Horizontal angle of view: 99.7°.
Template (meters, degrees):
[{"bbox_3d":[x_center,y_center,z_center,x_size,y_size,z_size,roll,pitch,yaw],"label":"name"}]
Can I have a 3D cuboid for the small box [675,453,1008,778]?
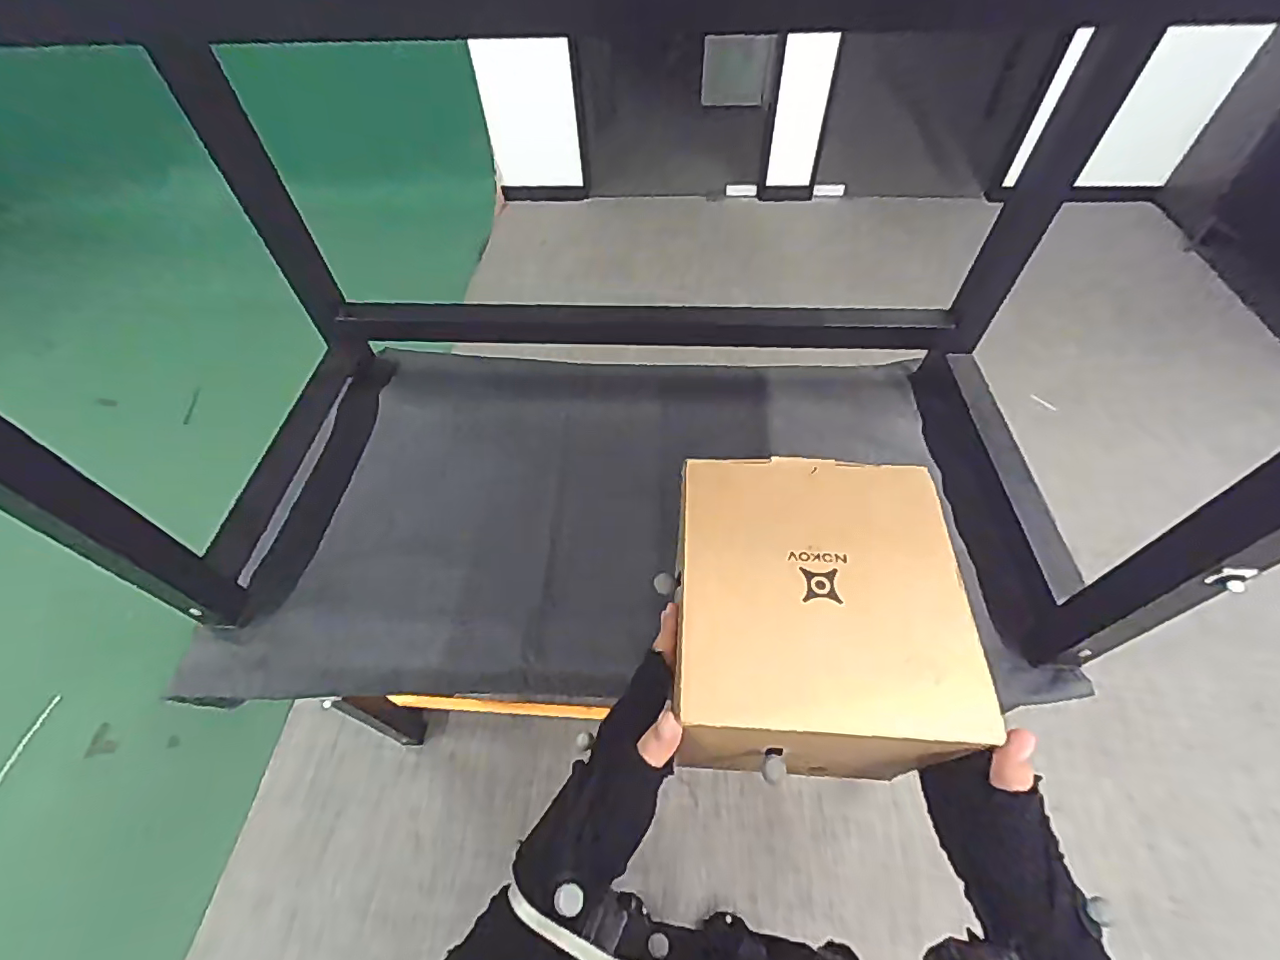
[{"bbox_3d":[0.111,0.101,0.384,0.168,0.176,0.179,2,54,4],"label":"small box"}]
